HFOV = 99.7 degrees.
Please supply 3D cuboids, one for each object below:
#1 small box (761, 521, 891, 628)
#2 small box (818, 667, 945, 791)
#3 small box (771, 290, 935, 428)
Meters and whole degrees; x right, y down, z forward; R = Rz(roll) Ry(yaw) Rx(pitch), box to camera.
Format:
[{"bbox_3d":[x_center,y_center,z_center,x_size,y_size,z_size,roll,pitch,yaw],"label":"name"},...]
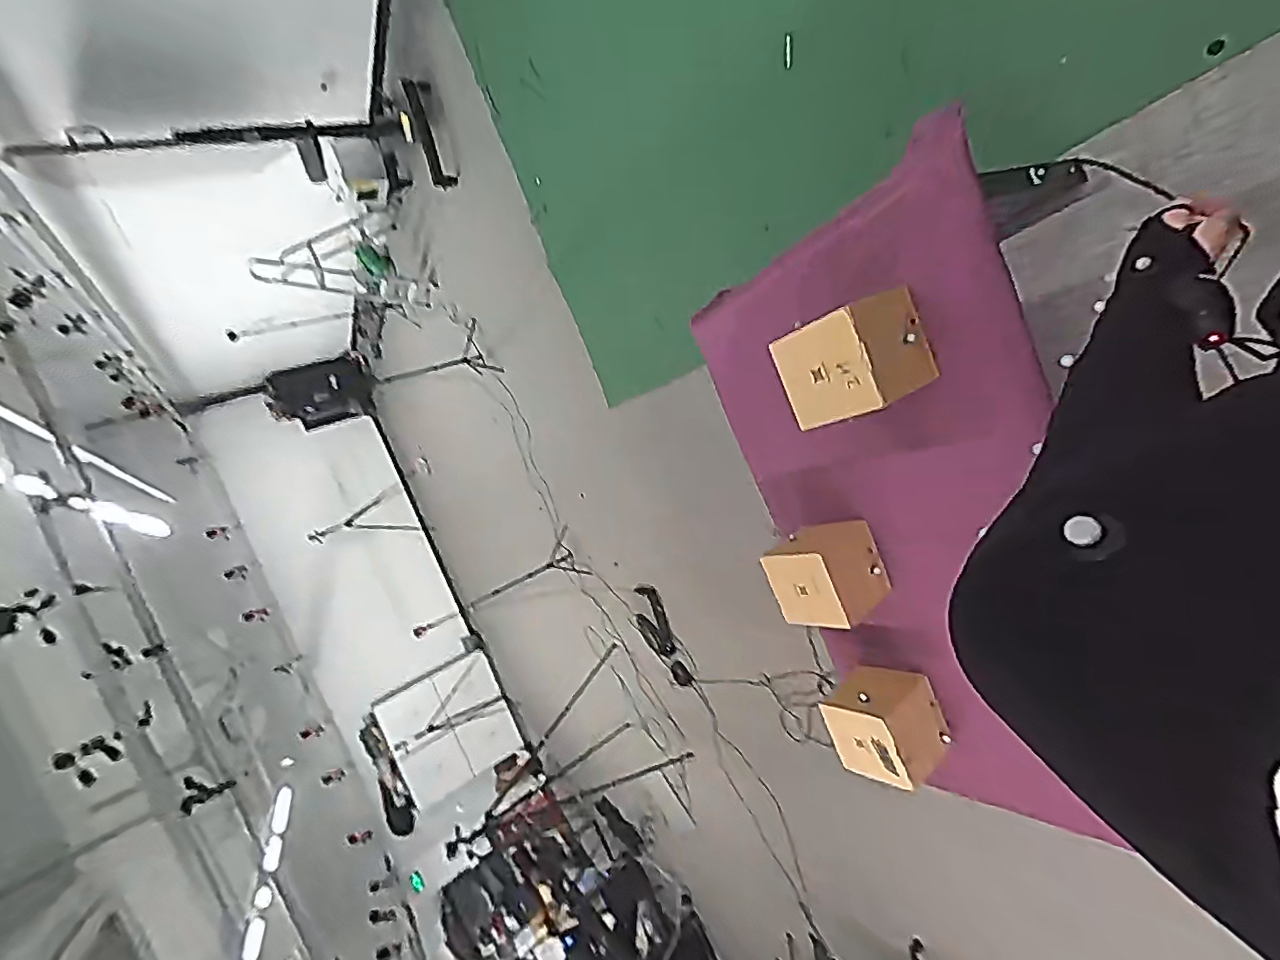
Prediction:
[{"bbox_3d":[0.401,0.200,1.170,0.179,0.176,0.168,-17,96,58],"label":"small box"},{"bbox_3d":[0.535,0.532,1.186,0.179,0.176,0.168,-20,93,59],"label":"small box"},{"bbox_3d":[0.367,-0.207,0.937,0.179,0.176,0.168,-15,99,60],"label":"small box"}]
